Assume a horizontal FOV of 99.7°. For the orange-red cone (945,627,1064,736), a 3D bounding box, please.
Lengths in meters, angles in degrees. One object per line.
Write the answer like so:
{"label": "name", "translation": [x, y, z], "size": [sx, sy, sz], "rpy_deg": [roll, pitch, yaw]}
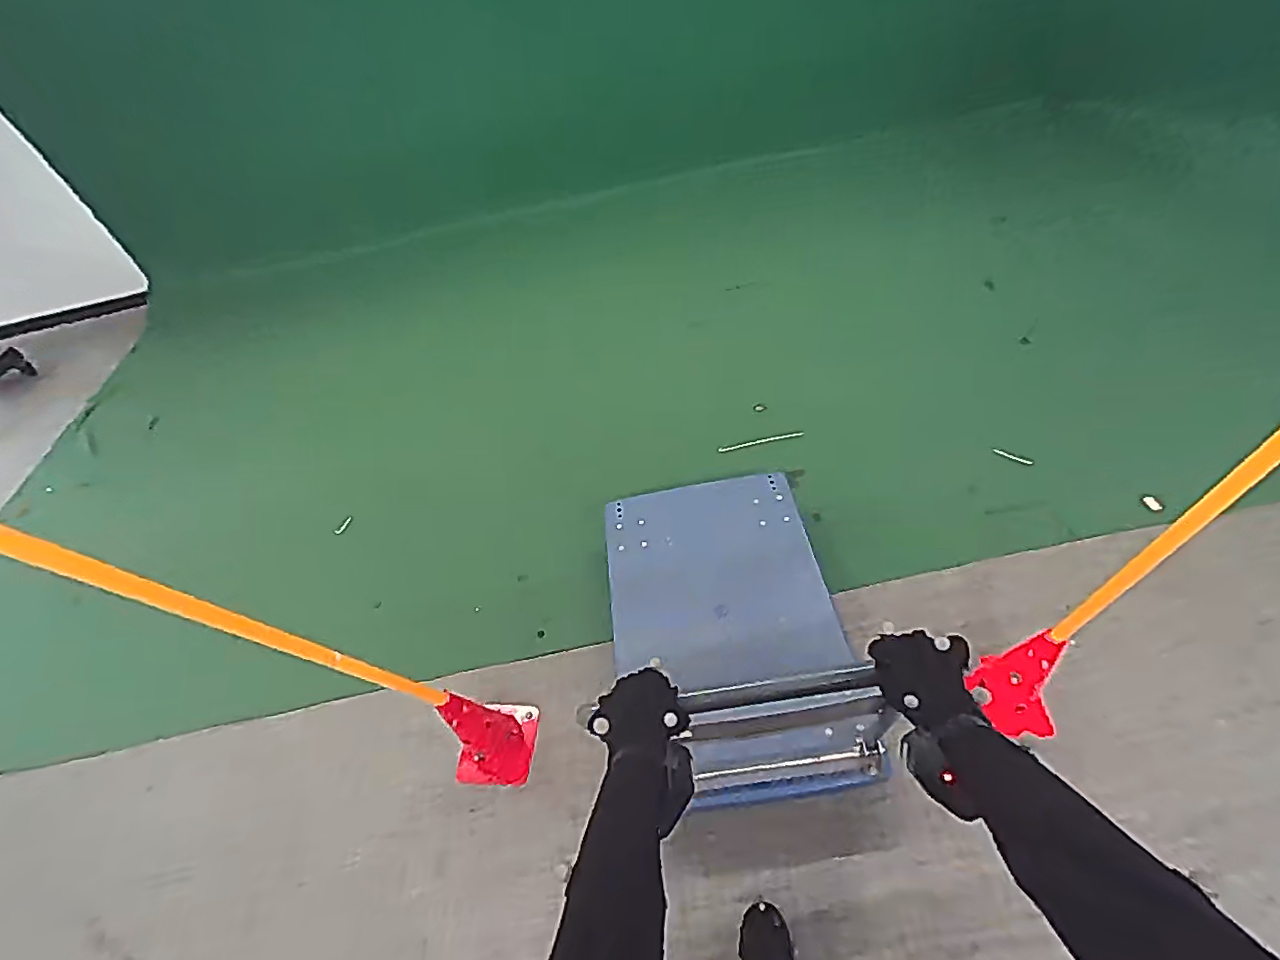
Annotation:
{"label": "orange-red cone", "translation": [0.862, 0.427, 1.220], "size": [0.198, 0.360, 0.199], "rpy_deg": [-4, 50, 9]}
